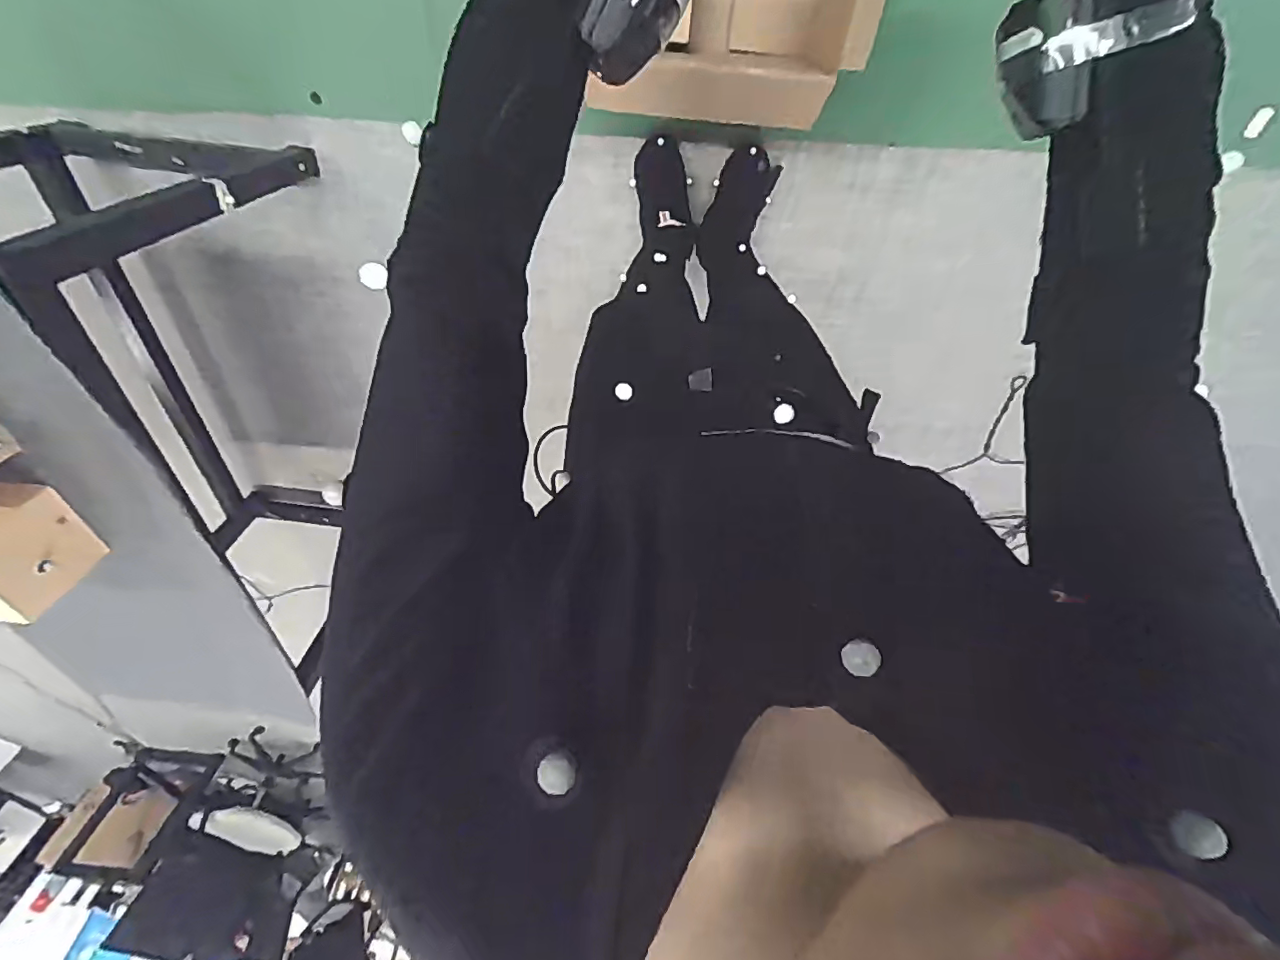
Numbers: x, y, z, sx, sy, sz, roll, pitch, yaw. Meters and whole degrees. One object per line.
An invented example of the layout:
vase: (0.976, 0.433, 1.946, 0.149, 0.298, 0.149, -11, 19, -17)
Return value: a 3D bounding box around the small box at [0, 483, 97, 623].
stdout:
small box: (-1.077, 0.115, 0.898, 0.179, 0.176, 0.168, 5, 131, 4)
